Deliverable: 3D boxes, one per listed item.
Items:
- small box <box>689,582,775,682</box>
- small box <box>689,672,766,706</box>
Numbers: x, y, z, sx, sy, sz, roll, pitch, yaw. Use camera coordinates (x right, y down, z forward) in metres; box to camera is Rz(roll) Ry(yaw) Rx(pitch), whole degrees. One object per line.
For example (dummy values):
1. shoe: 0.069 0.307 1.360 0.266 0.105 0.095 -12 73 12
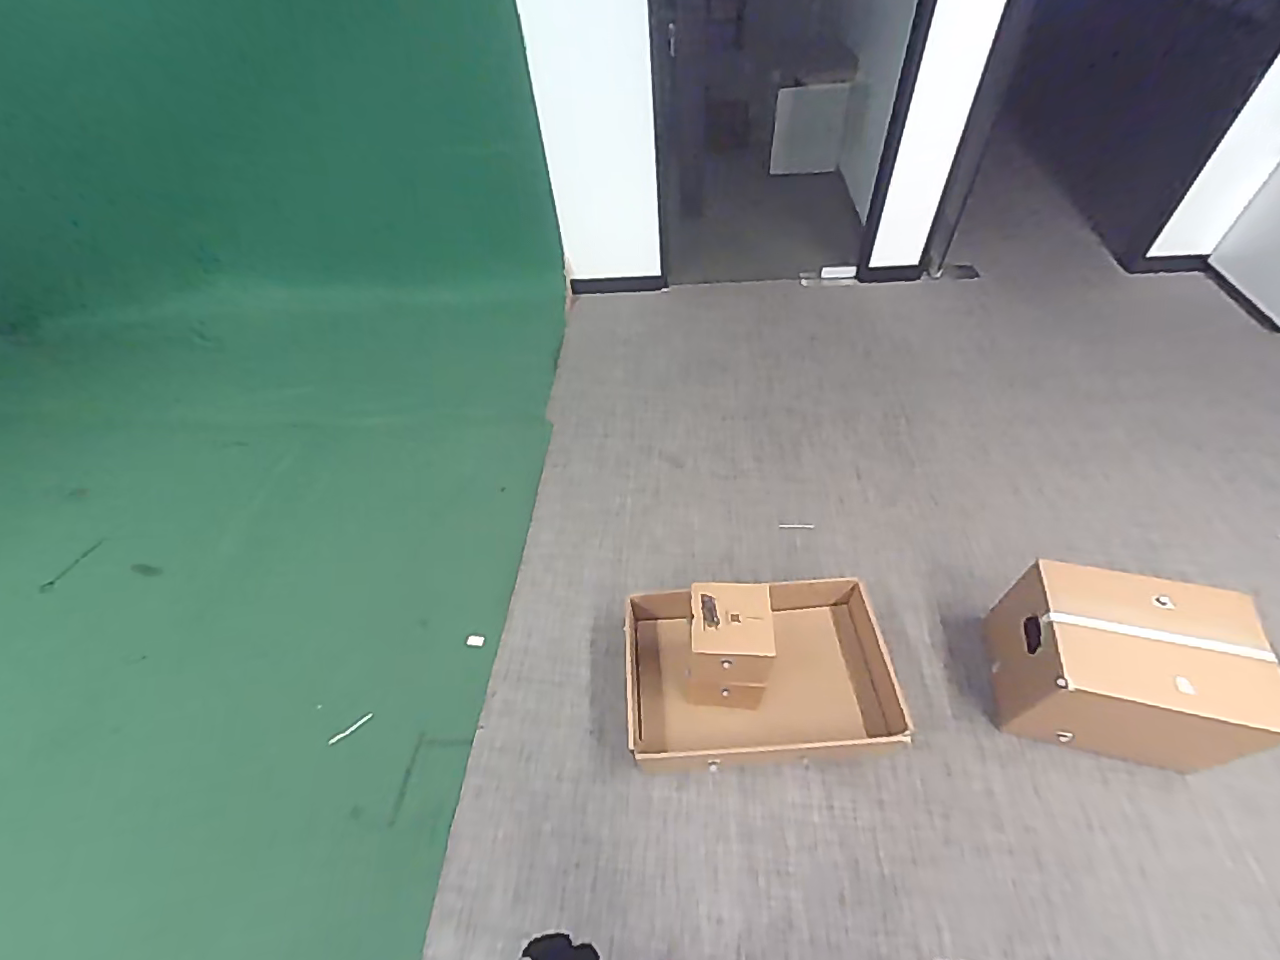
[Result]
1. small box: 0.201 0.347 1.226 0.179 0.176 0.168 1 51 4
2. small box: 0.213 0.454 1.351 0.179 0.176 0.168 2 51 4
